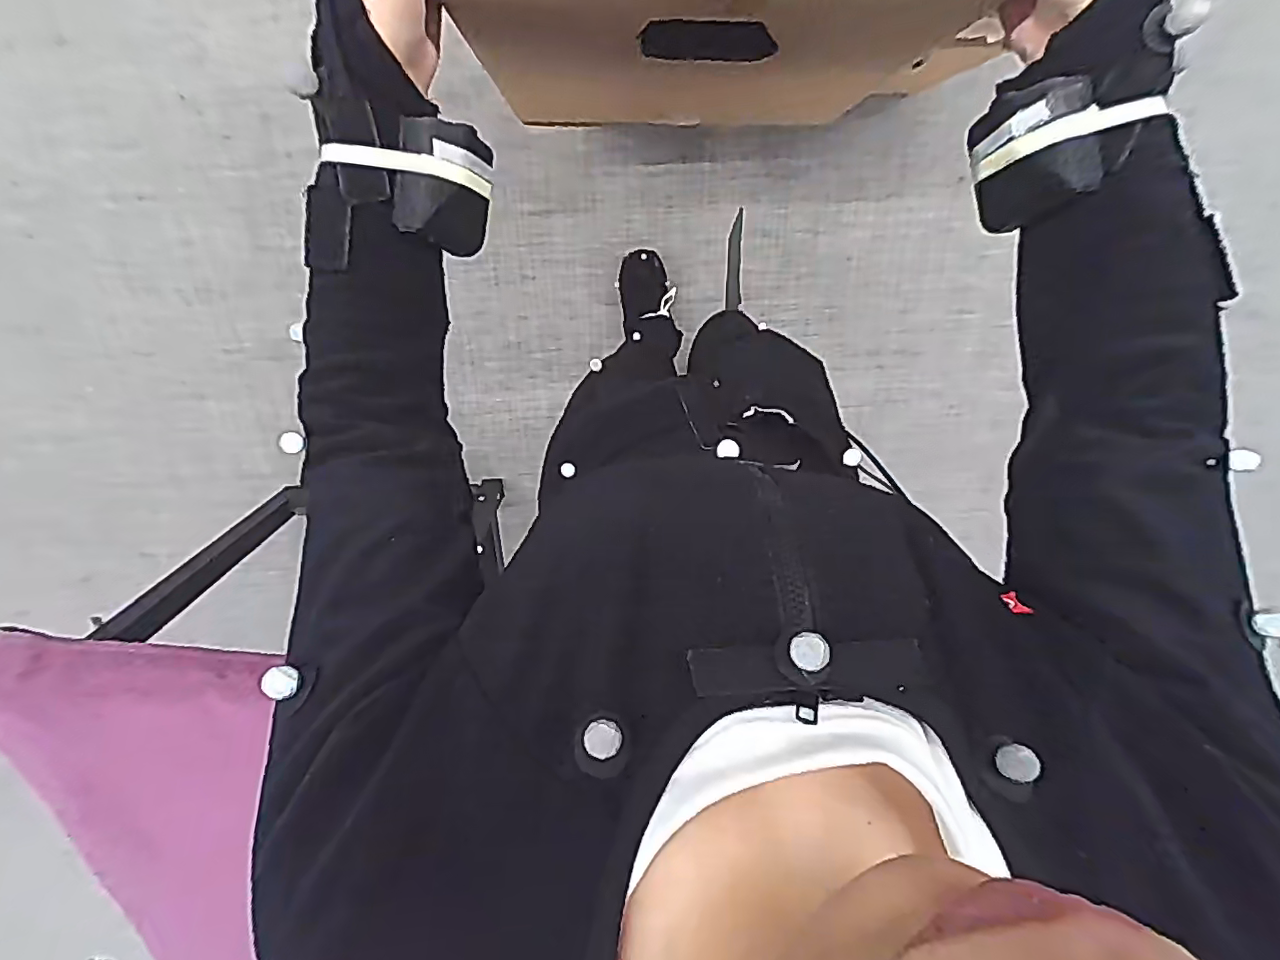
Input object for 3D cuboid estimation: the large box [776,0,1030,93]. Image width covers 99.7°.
[{"bbox_3d":[0.418,-0.910,0.880,0.320,0.320,0.408,-3,115,0],"label":"large box"}]
